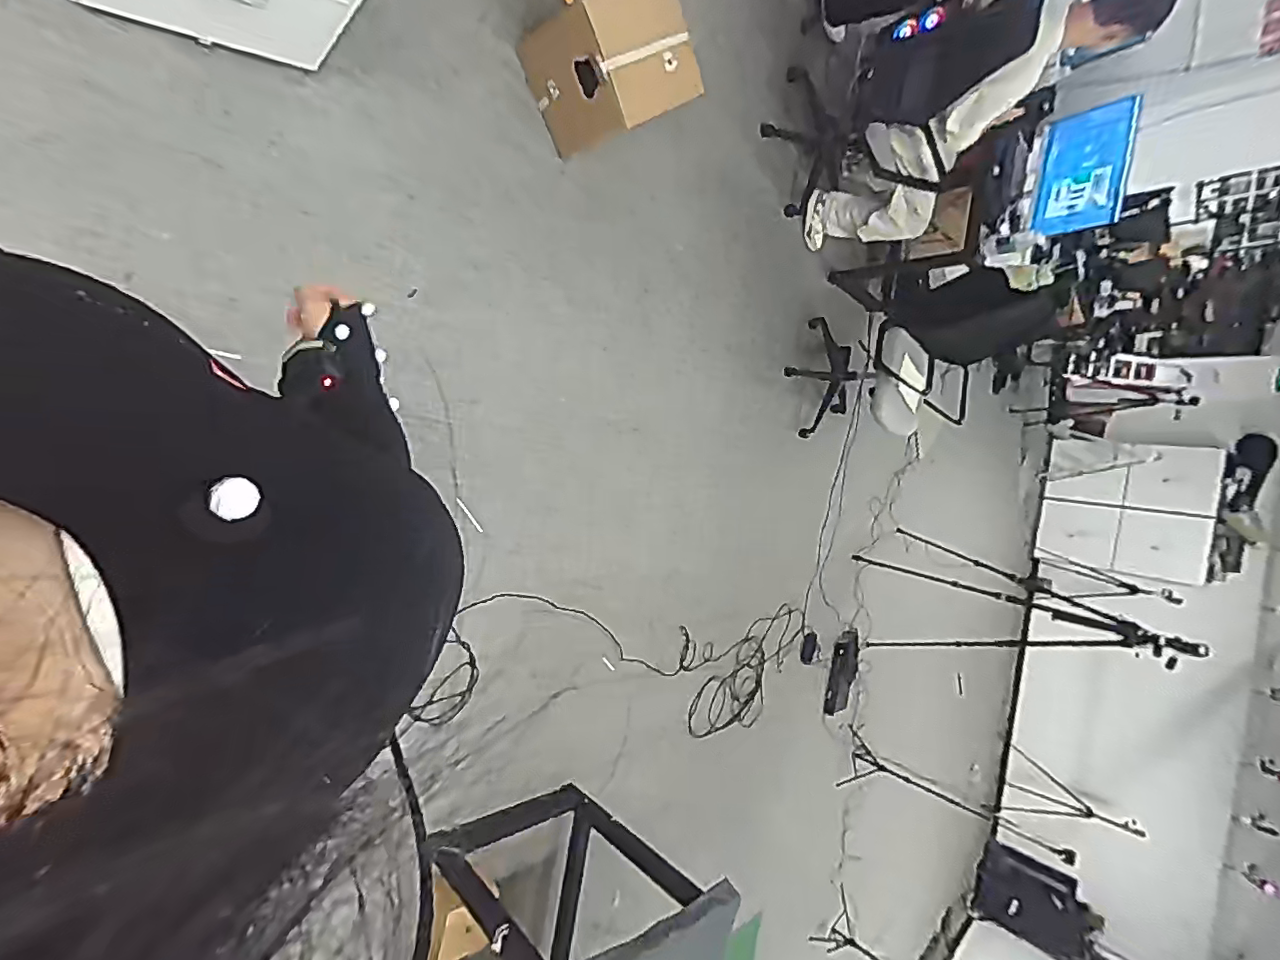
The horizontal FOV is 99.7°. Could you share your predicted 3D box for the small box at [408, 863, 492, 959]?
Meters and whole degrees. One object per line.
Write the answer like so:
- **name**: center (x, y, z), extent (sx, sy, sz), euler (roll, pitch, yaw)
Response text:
- **small box**: center (-0.593, 1.341, 1.677), extent (0.179, 0.176, 0.168), euler (16, 84, -46)
